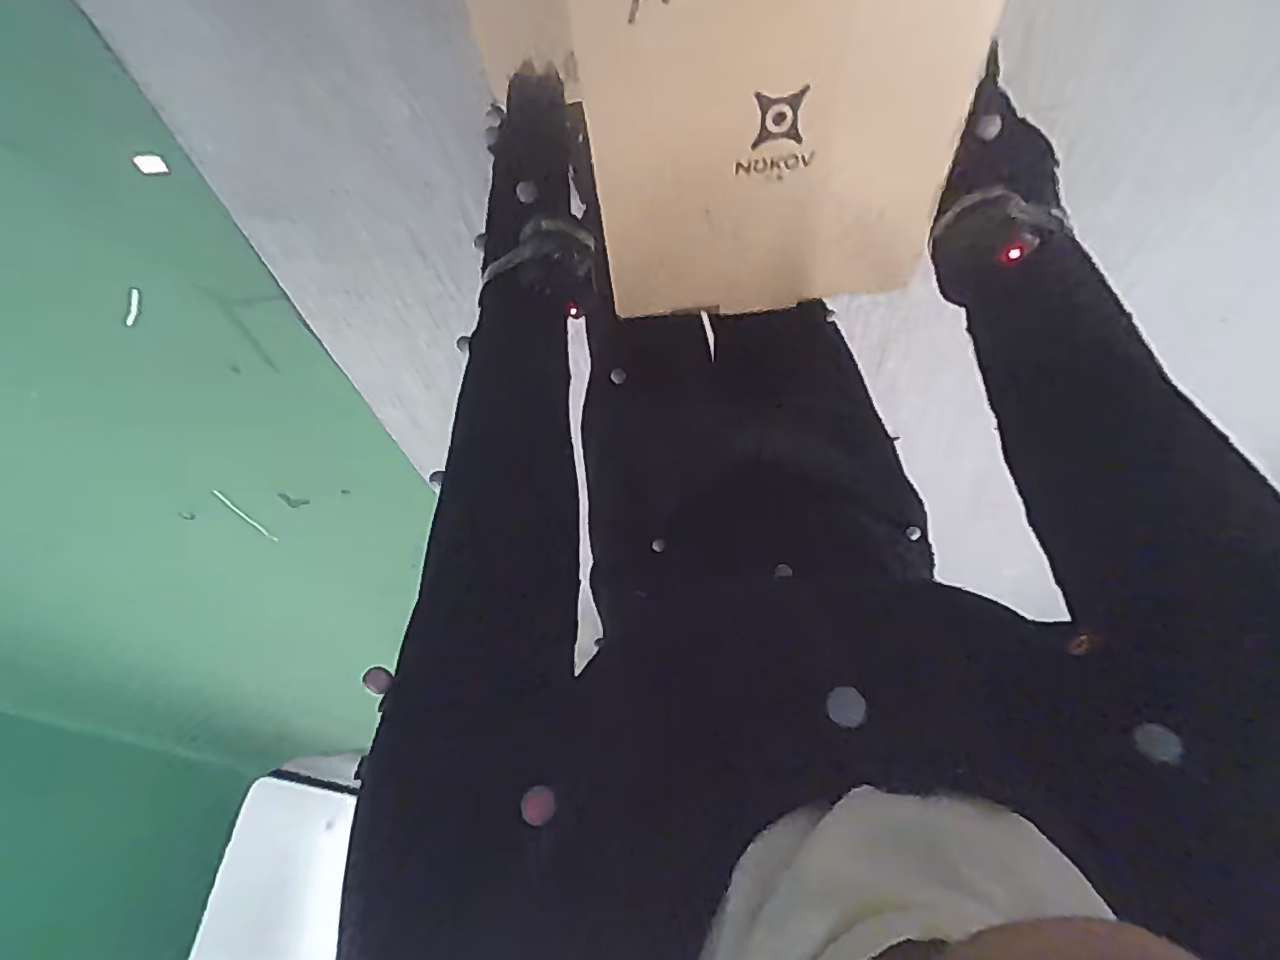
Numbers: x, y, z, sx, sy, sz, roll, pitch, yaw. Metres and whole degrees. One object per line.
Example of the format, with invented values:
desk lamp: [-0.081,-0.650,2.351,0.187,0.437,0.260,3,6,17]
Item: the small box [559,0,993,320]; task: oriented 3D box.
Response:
small box: [0.054,-0.215,0.294,0.168,0.176,0.179,-4,144,3]
